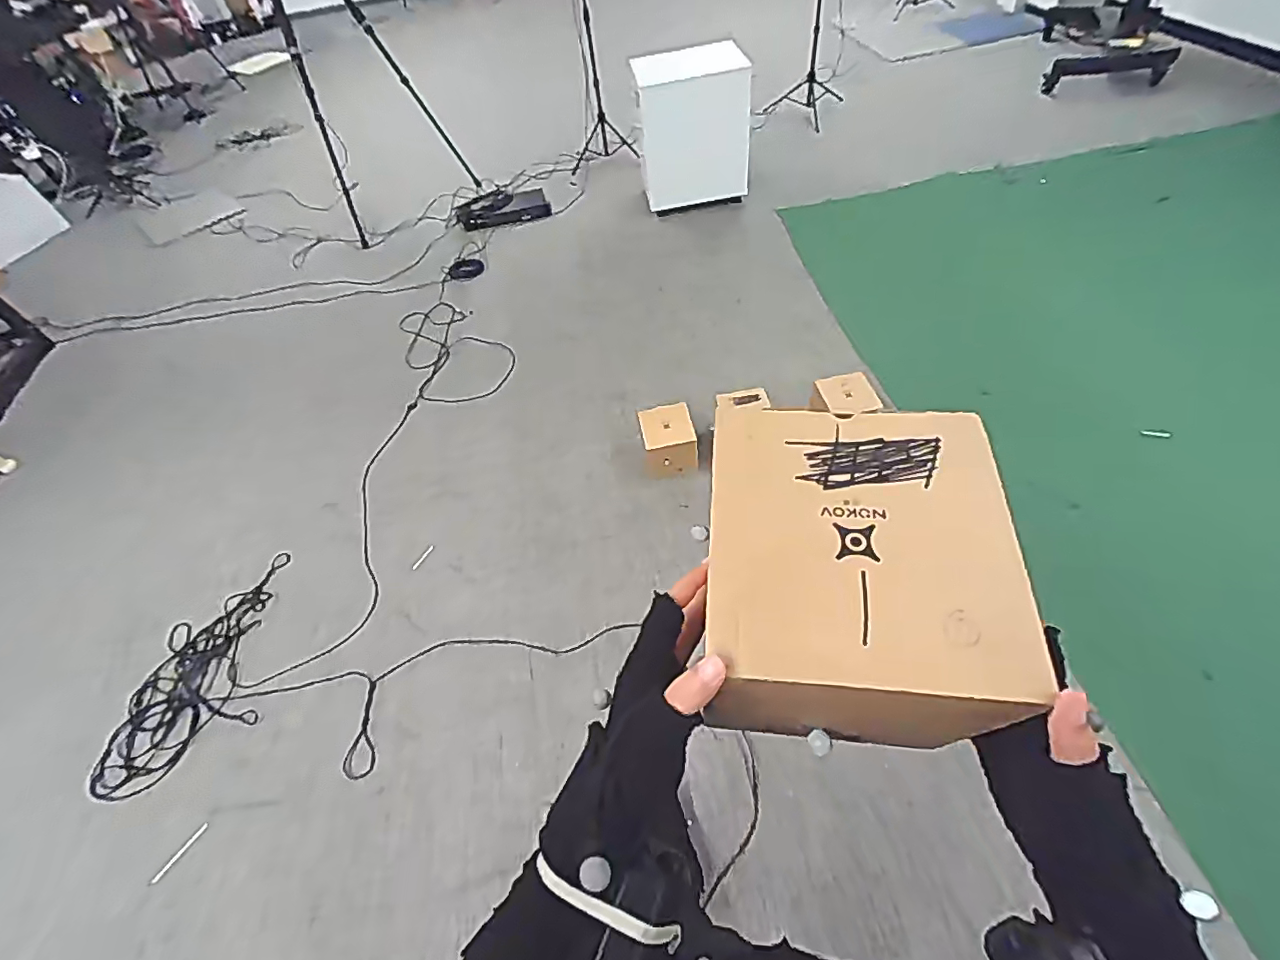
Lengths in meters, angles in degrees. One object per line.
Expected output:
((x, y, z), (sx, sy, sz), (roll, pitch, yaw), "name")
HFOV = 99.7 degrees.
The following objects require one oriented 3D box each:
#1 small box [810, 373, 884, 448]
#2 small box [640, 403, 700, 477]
((0.683, -0.224, 1.802), (0.168, 0.176, 0.179), (-11, 53, -1), "small box")
((0.101, -0.126, 1.807), (0.168, 0.176, 0.179), (-12, 52, 0), "small box")
